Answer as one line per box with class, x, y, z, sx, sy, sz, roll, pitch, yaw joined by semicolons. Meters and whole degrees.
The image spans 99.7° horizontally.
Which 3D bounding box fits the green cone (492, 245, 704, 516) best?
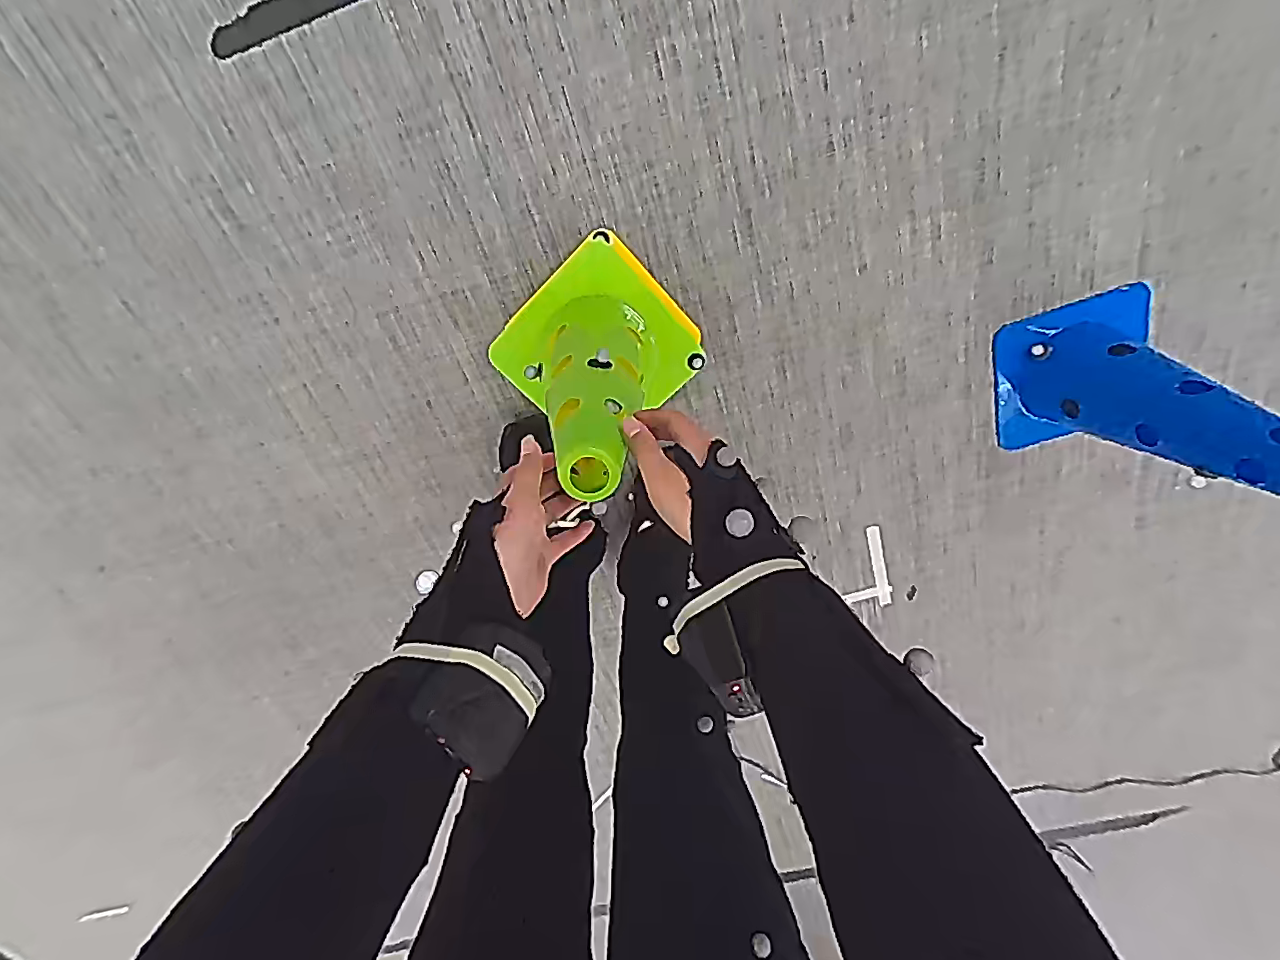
green cone;-0.043;-0.073;0.503;0.202;0.368;0.200;-42;110;16
